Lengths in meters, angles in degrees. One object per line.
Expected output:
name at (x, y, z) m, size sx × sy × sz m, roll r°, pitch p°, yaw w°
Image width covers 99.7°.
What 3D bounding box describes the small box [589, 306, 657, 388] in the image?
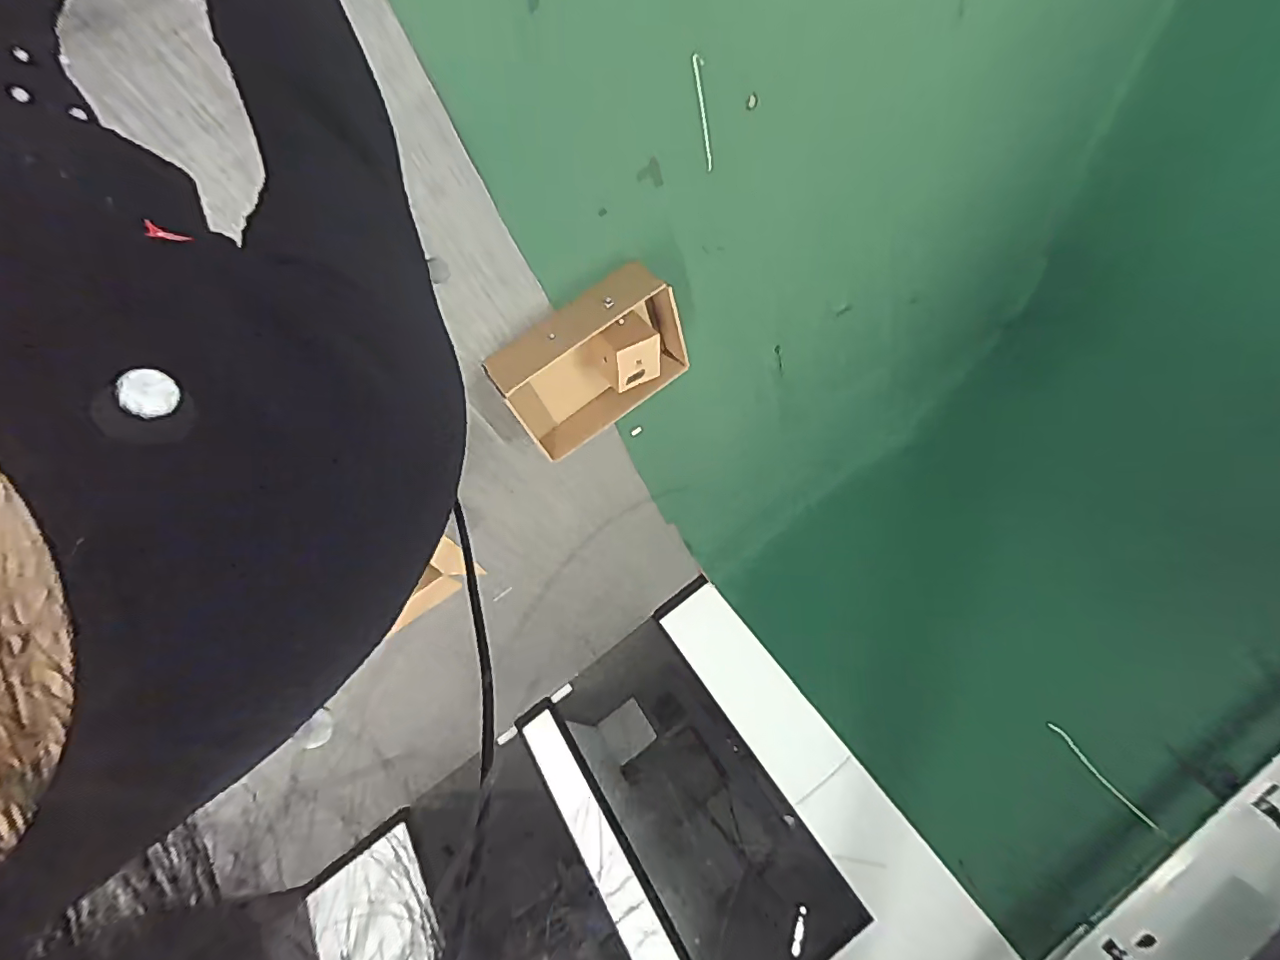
small box at (-0.057, -0.447, 1.808) m, size 0.168 × 0.176 × 0.179 m, roll -27°, pitch 147°, yaw -18°
